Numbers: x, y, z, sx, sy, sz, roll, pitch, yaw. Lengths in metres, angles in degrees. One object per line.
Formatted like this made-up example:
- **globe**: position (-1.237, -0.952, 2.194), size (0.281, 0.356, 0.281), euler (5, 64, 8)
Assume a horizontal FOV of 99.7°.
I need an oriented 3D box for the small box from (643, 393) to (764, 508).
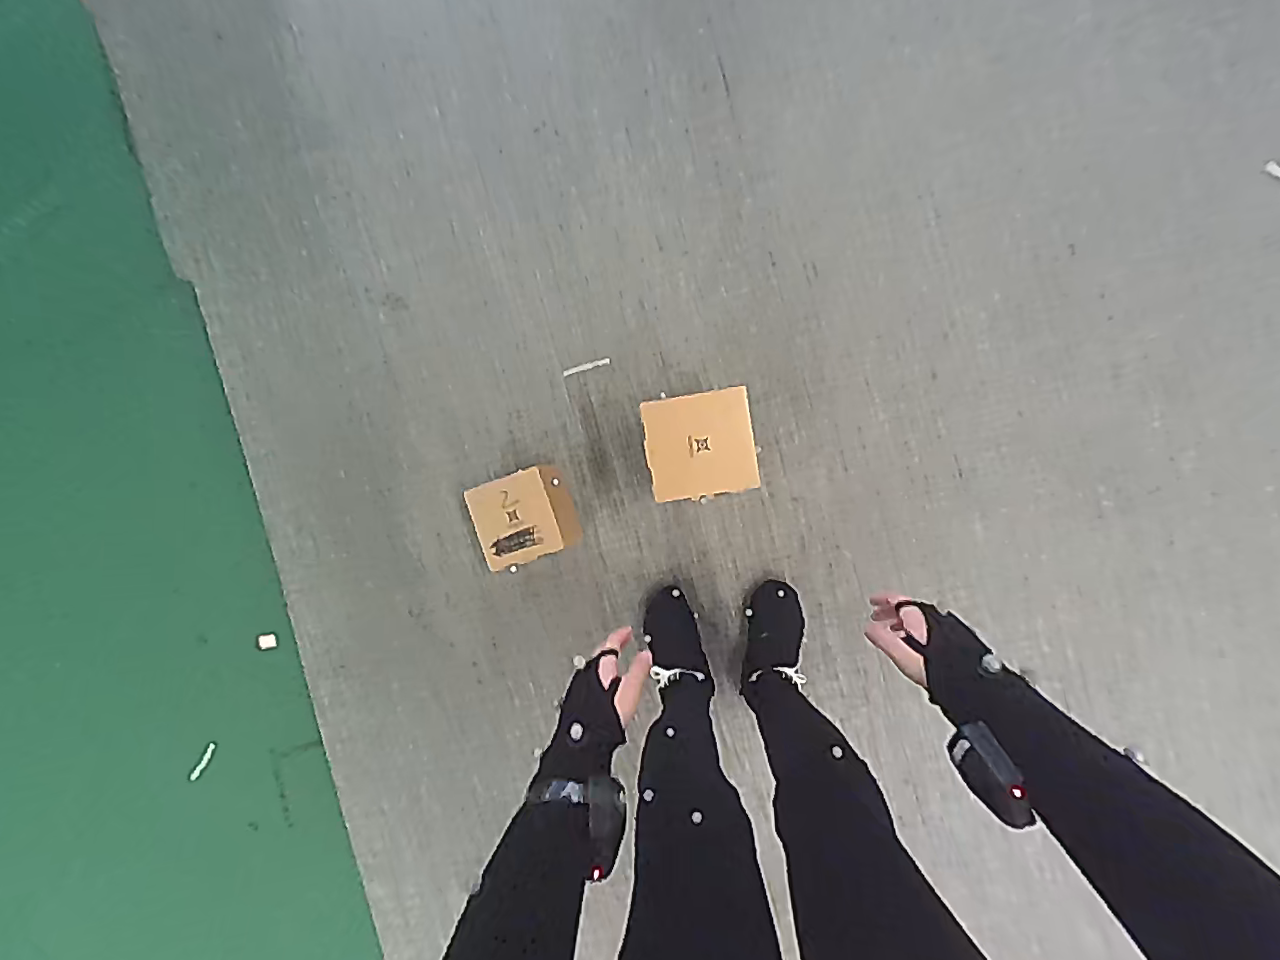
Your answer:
- **small box**: position (0.110, -0.052, 0.949), size (0.179, 0.176, 0.168), euler (-10, 91, 8)
